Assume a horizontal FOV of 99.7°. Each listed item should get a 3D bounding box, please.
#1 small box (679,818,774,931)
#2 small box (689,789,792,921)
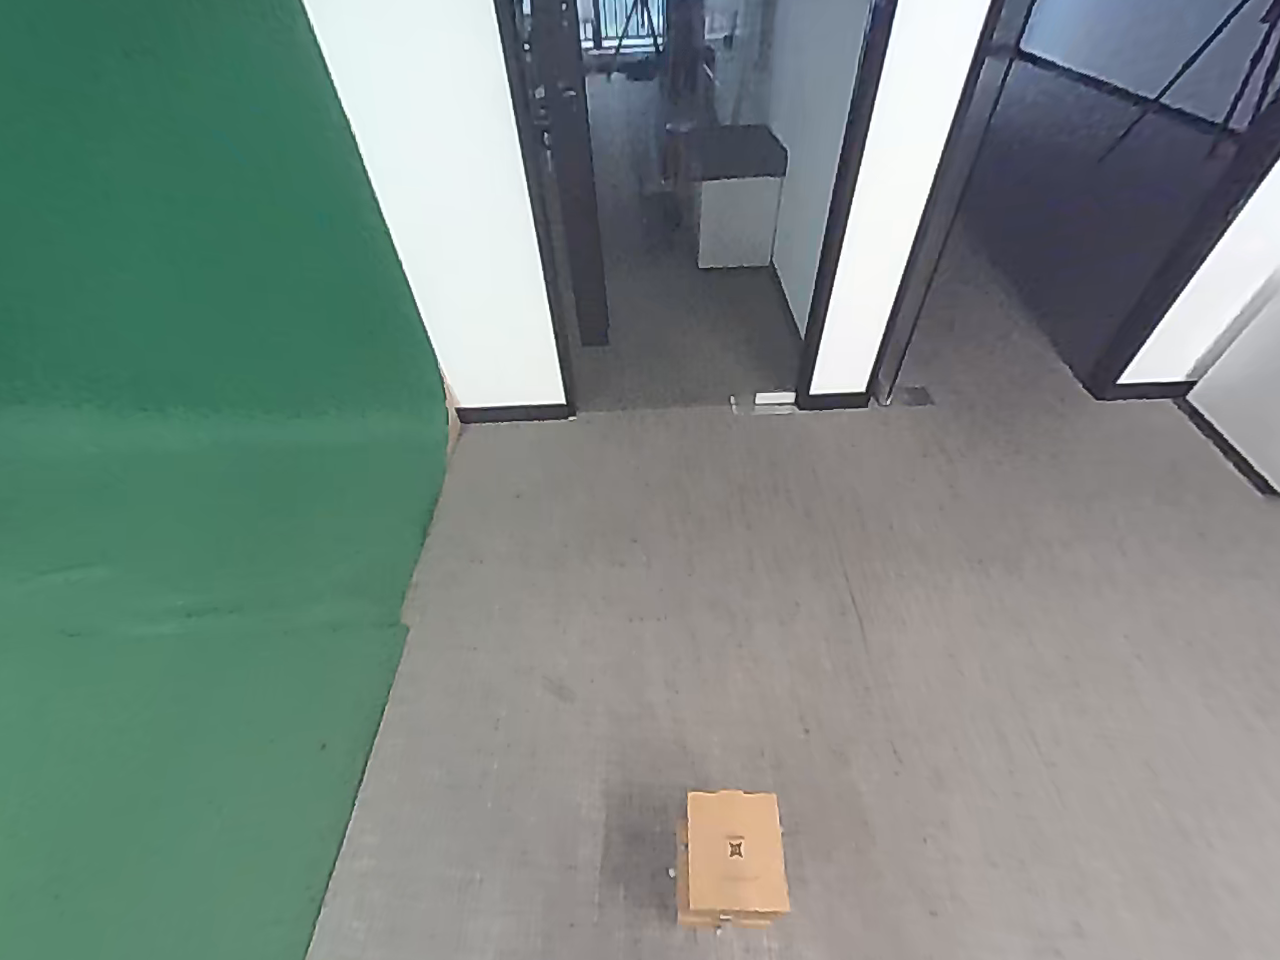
[{"bbox_3d":[0.169,0.814,1.115,0.179,0.176,0.168,-1,46,4],"label":"small box"},{"bbox_3d":[0.176,0.696,1.004,0.168,0.176,0.179,-2,47,4],"label":"small box"}]
